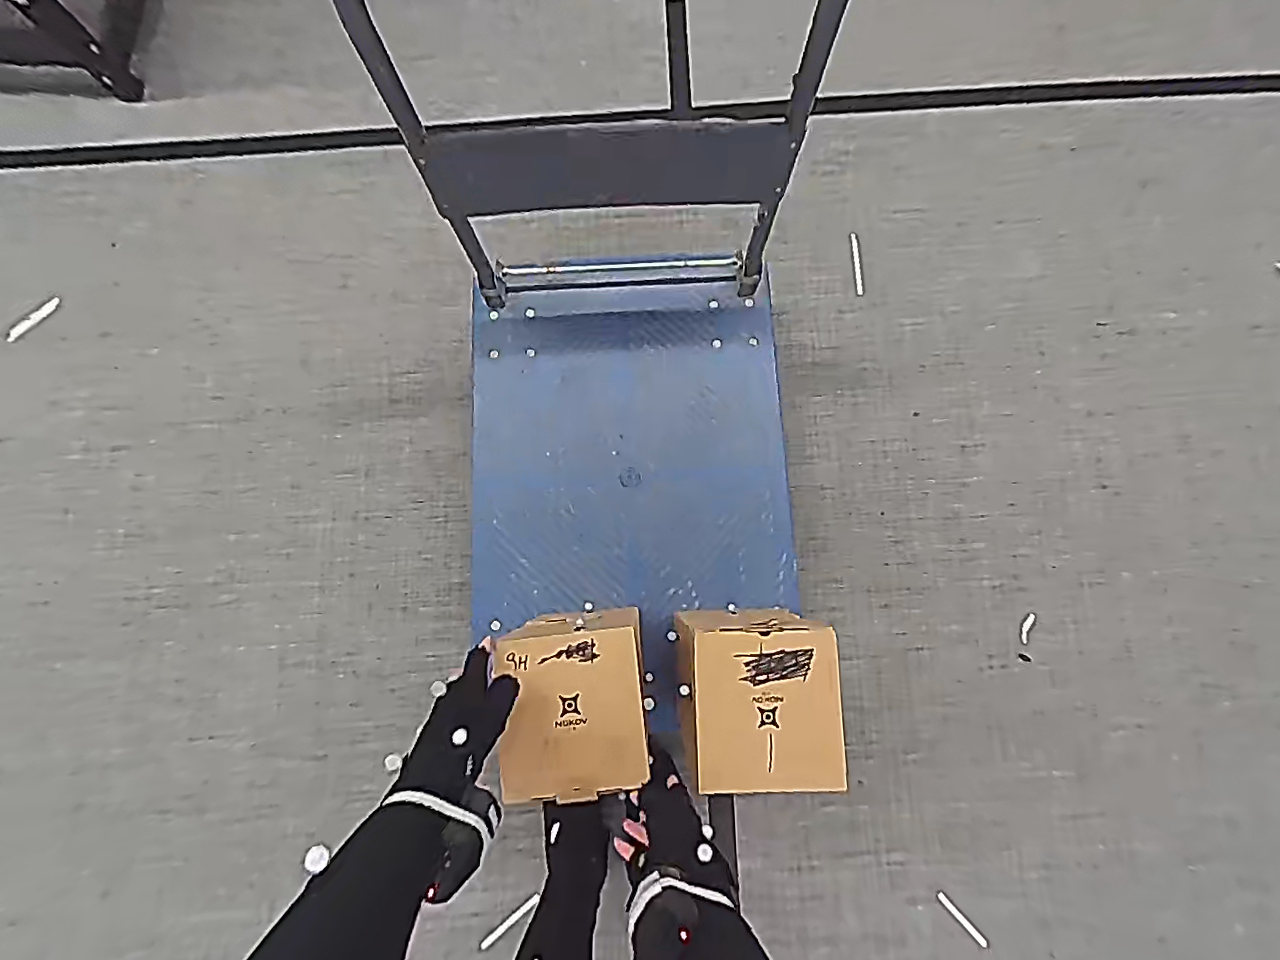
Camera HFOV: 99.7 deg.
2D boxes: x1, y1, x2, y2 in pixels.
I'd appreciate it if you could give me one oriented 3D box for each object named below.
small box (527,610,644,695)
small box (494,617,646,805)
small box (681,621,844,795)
[{"bbox_3d":[-0.078,0.303,0.846,0.168,0.176,0.179,-3,80,-1],"label":"small box"},{"bbox_3d":[-0.079,0.276,0.683,0.168,0.176,0.179,-5,81,-1],"label":"small box"},{"bbox_3d":[0.142,0.273,0.684,0.168,0.176,0.179,0,81,-1],"label":"small box"}]
